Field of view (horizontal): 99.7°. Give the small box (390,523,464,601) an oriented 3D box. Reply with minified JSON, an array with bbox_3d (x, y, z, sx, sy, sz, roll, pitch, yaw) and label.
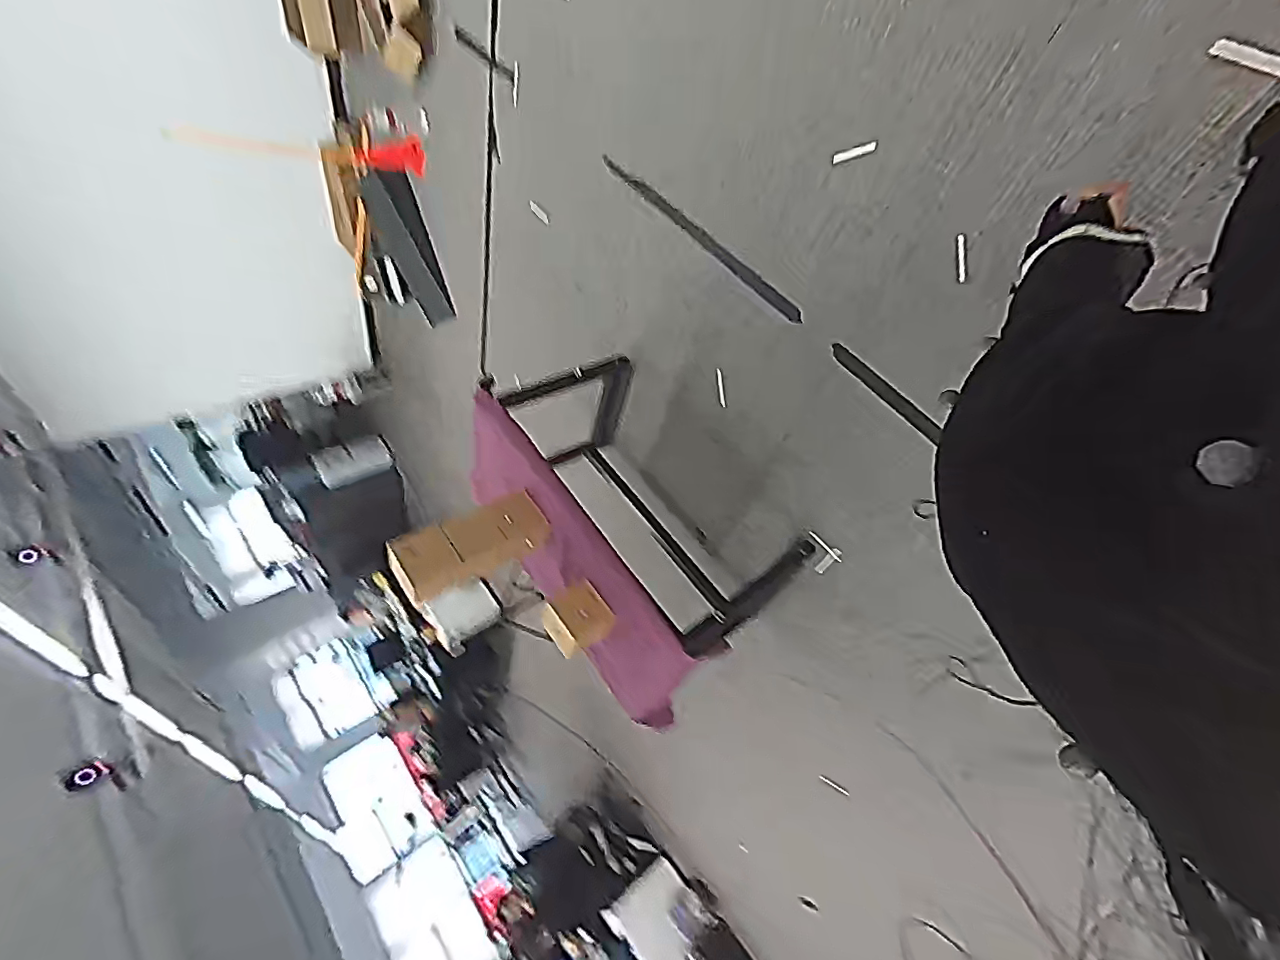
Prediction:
[{"bbox_3d":[-0.701,0.261,1.784,0.179,0.176,0.168,50,144,20],"label":"small box"}]

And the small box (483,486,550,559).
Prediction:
[{"bbox_3d":[-0.448,0.150,1.965,0.179,0.176,0.168,51,144,20],"label":"small box"}]

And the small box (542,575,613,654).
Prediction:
[{"bbox_3d":[-0.213,0.455,1.846,0.168,0.176,0.179,48,144,22],"label":"small box"}]
